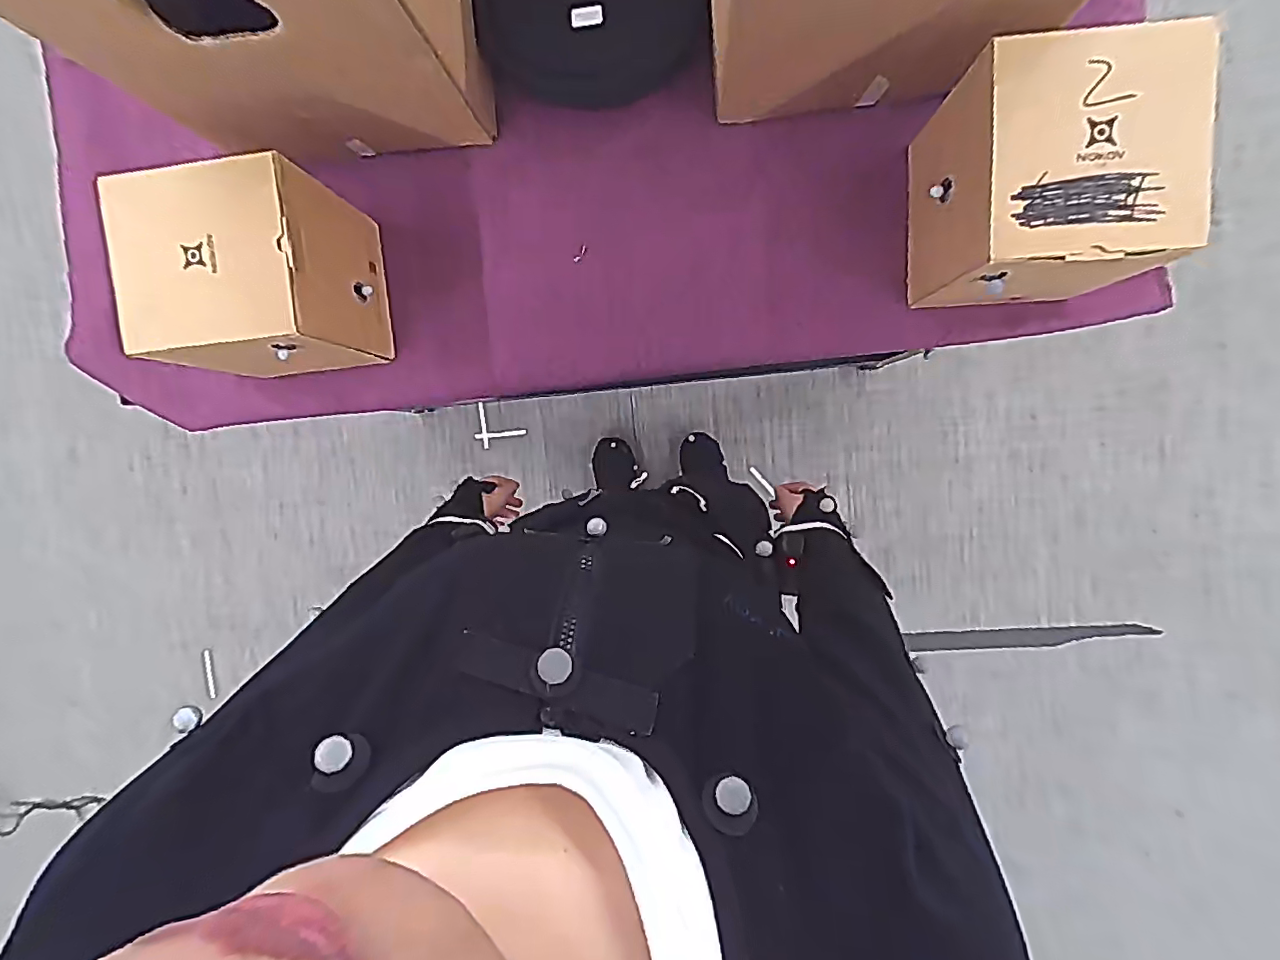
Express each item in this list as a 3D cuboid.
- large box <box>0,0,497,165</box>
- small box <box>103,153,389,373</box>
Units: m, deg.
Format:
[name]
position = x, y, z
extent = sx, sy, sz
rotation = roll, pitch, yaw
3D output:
[large box]
position = -0.339, -0.566, 0.478
extent = 0.320, 0.320, 0.408
rotation = -3, 97, 5
[small box]
position = -0.404, -0.214, 0.583
extent = 0.179, 0.176, 0.168
rotation = -6, 93, 4
